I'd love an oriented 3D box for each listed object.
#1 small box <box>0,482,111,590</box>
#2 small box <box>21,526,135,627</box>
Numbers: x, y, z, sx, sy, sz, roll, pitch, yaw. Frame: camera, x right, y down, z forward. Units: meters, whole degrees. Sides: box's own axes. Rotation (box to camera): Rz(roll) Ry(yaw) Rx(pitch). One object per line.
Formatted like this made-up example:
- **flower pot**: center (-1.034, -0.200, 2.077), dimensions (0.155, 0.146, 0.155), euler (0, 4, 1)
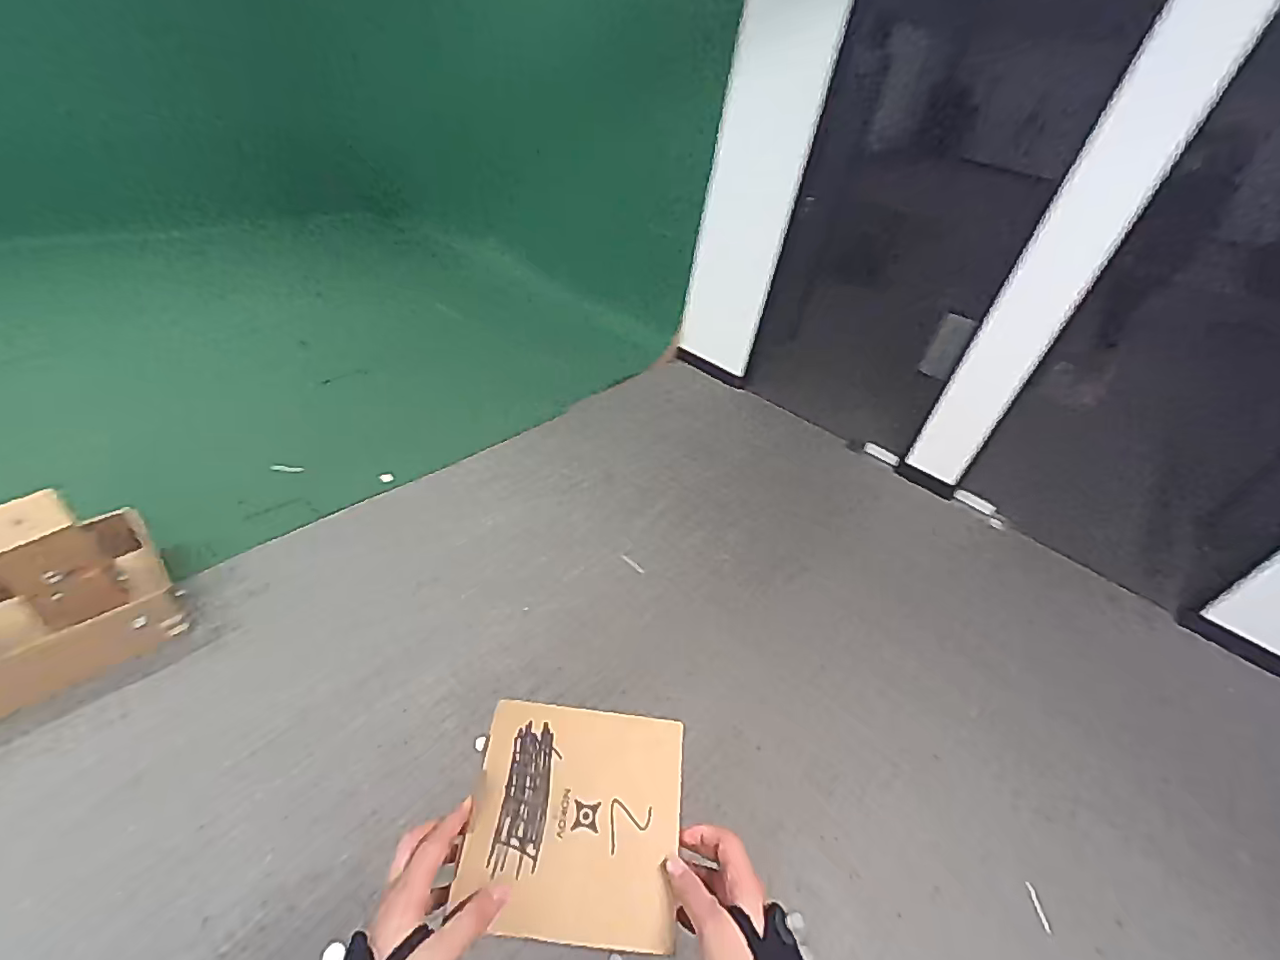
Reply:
- **small box**: center (-1.509, 0.143, 1.370), dimensions (0.179, 0.176, 0.168), euler (34, 47, 22)
- **small box**: center (-1.534, 0.263, 1.478), dimensions (0.168, 0.176, 0.179), euler (-26, 53, -35)
